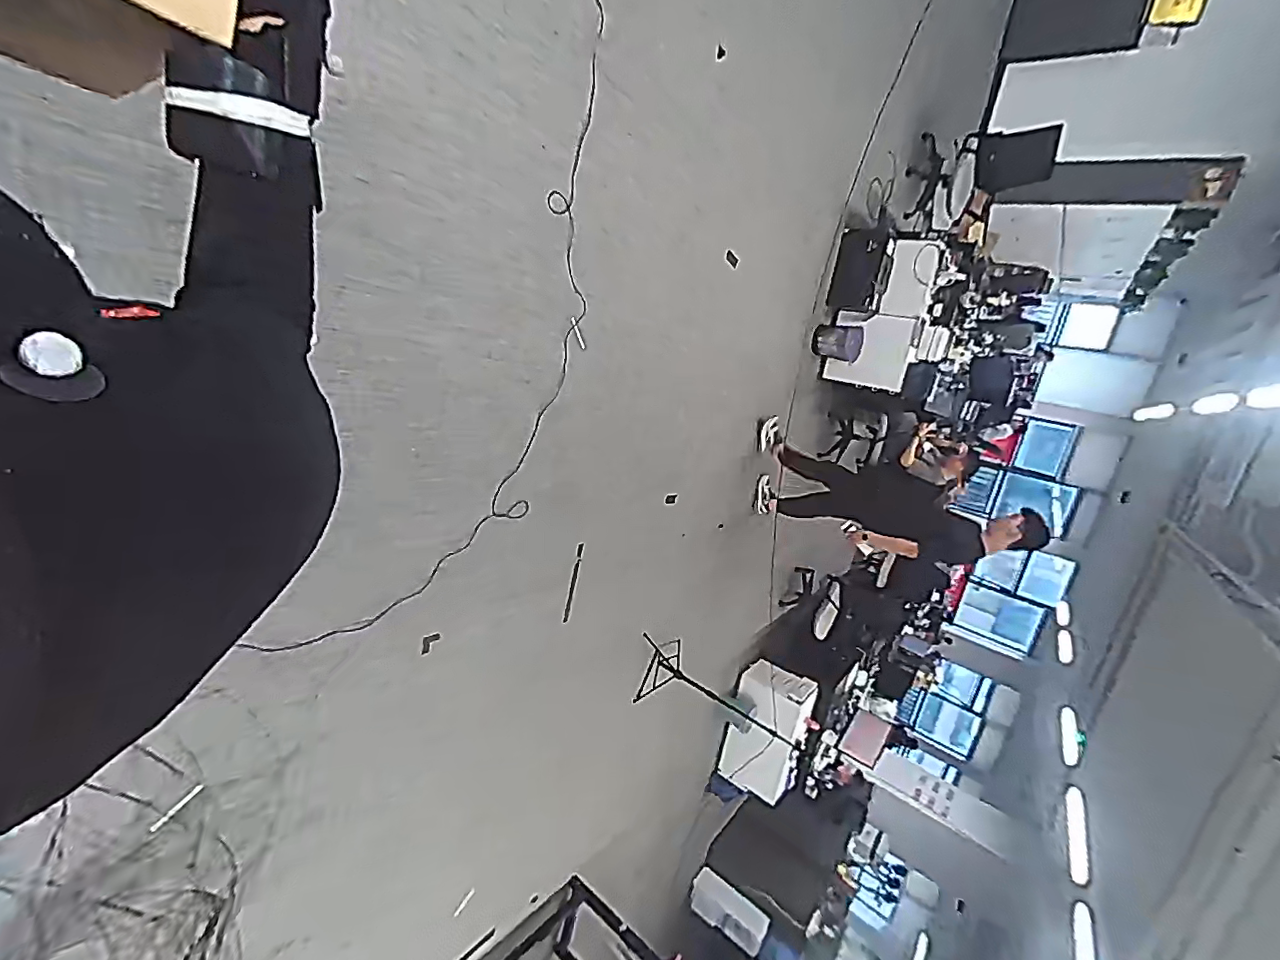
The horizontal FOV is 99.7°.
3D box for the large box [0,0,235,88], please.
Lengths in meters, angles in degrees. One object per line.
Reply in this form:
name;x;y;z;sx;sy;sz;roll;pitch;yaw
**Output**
large box;-0.460;-0.458;0.235;0.408;0.320;0.320;-2;109;-54
